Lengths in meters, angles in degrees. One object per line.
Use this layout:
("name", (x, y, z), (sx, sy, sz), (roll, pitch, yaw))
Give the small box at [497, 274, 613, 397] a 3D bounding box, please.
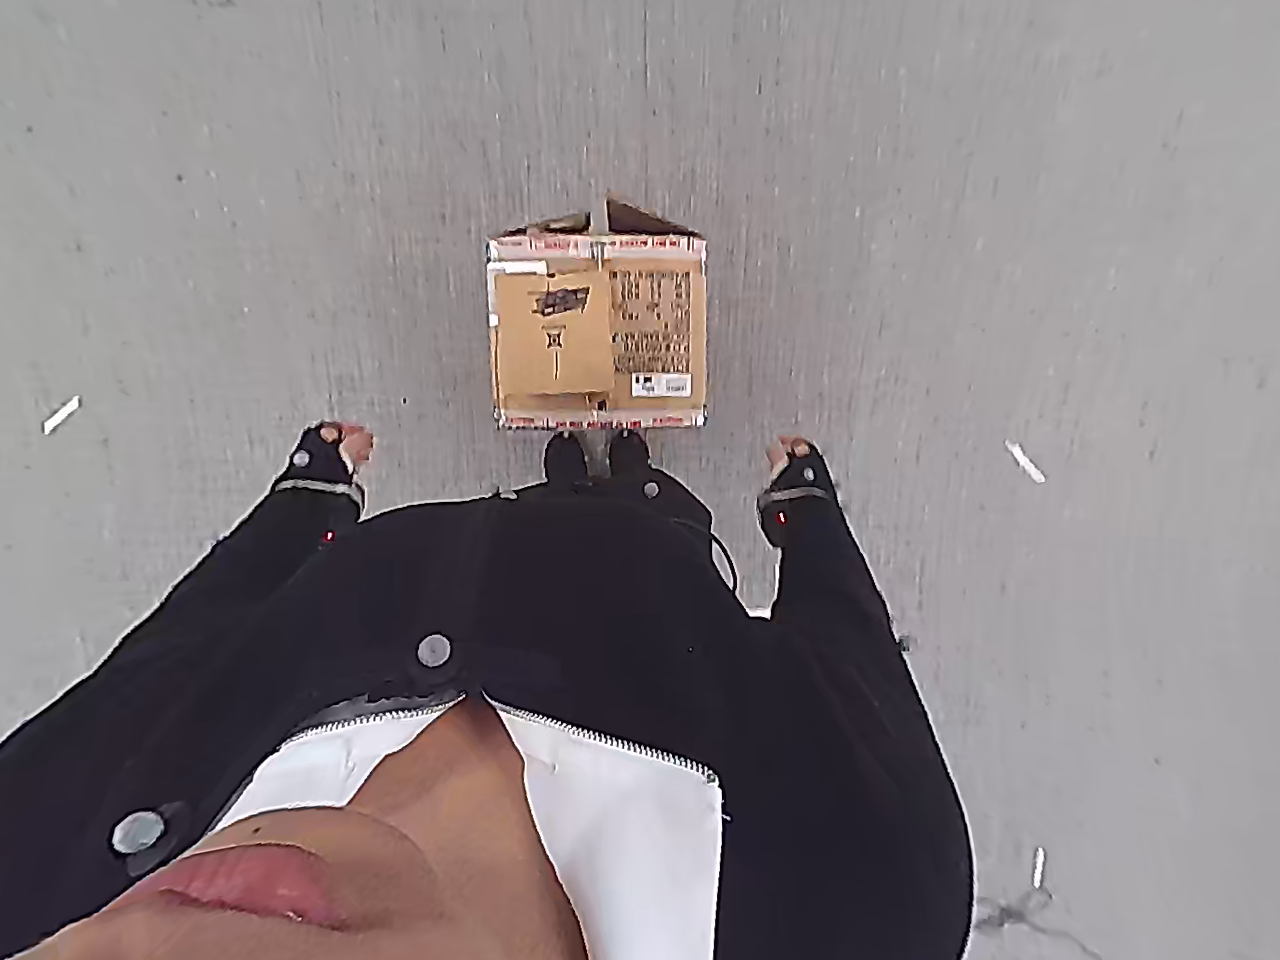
("small box", (-0.128, -0.227, 0.872), (0.168, 0.176, 0.179), (-1, 103, -1))
